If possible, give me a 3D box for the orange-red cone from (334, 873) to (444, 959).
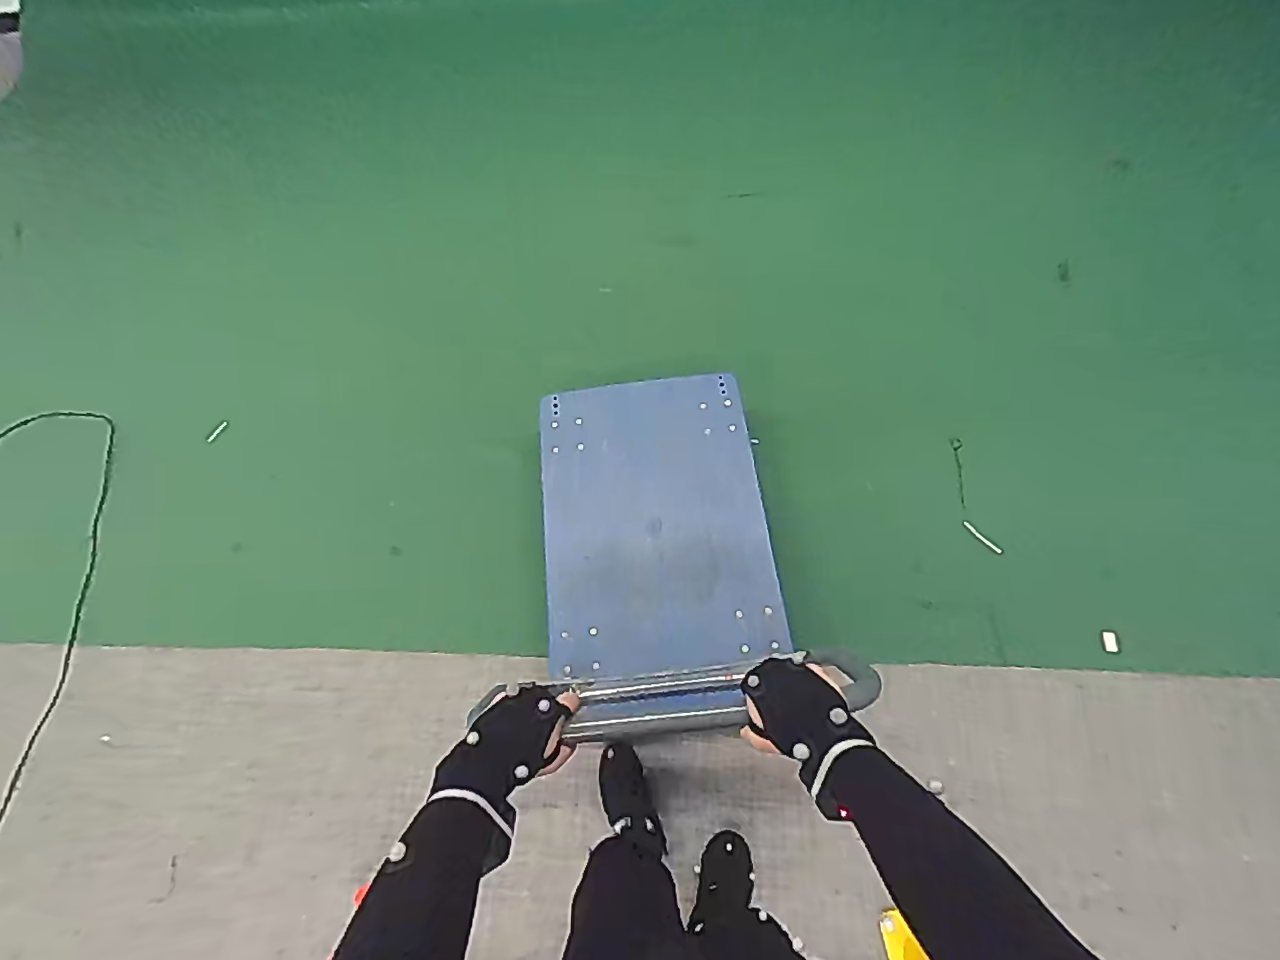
[{"bbox_3d":[-0.560,0.961,1.075,0.199,0.360,0.198,-14,66,0],"label":"orange-red cone"}]
